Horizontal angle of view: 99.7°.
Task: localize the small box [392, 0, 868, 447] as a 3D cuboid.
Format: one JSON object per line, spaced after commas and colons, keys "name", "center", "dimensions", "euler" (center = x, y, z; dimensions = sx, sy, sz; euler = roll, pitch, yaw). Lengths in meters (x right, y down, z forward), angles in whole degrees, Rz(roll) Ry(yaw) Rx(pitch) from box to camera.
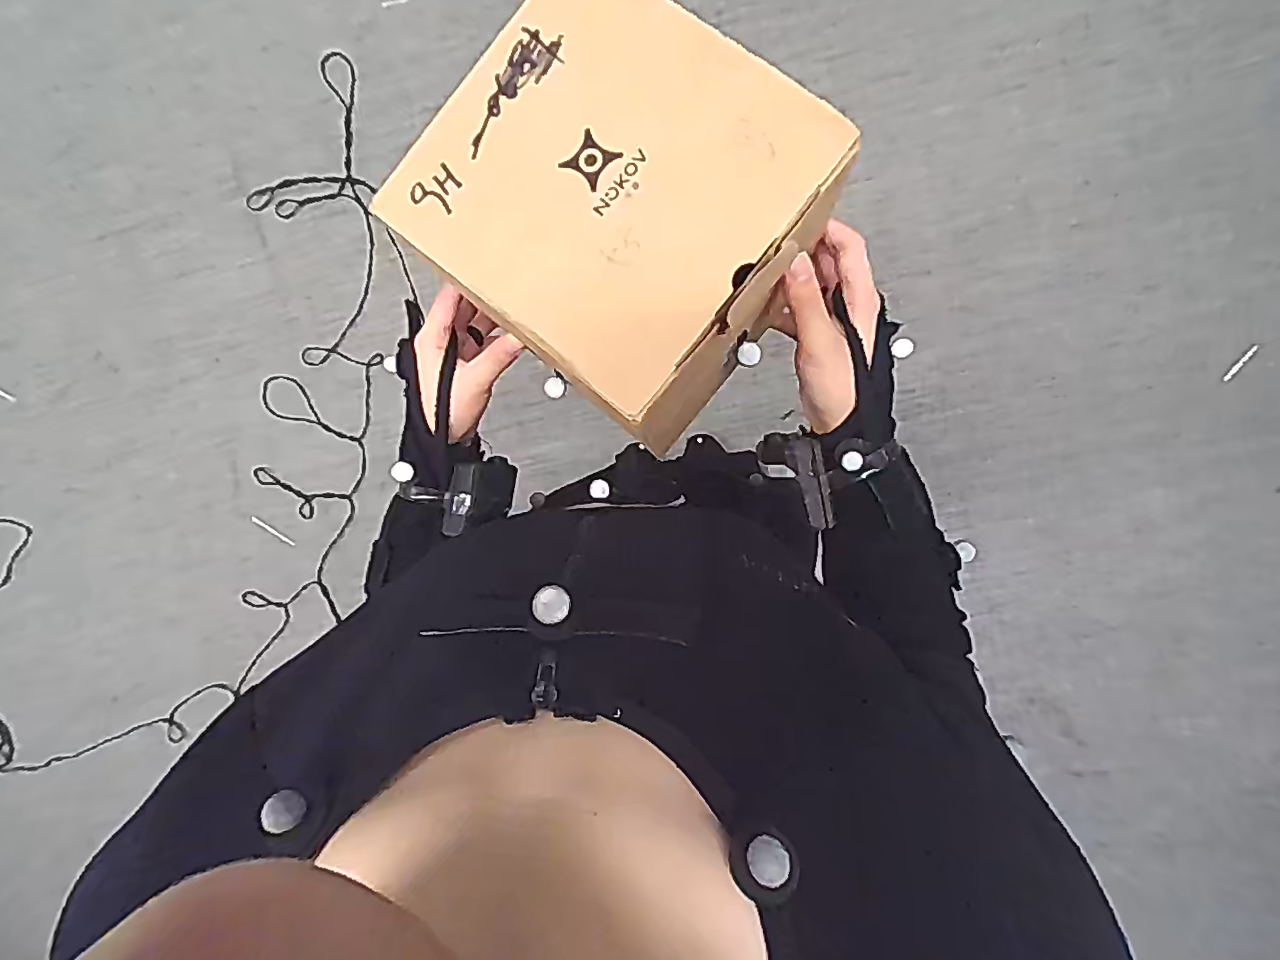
{"name": "small box", "center": [-0.001, -0.134, 0.340], "dimensions": [0.179, 0.176, 0.168], "euler": [41, 91, 6]}
